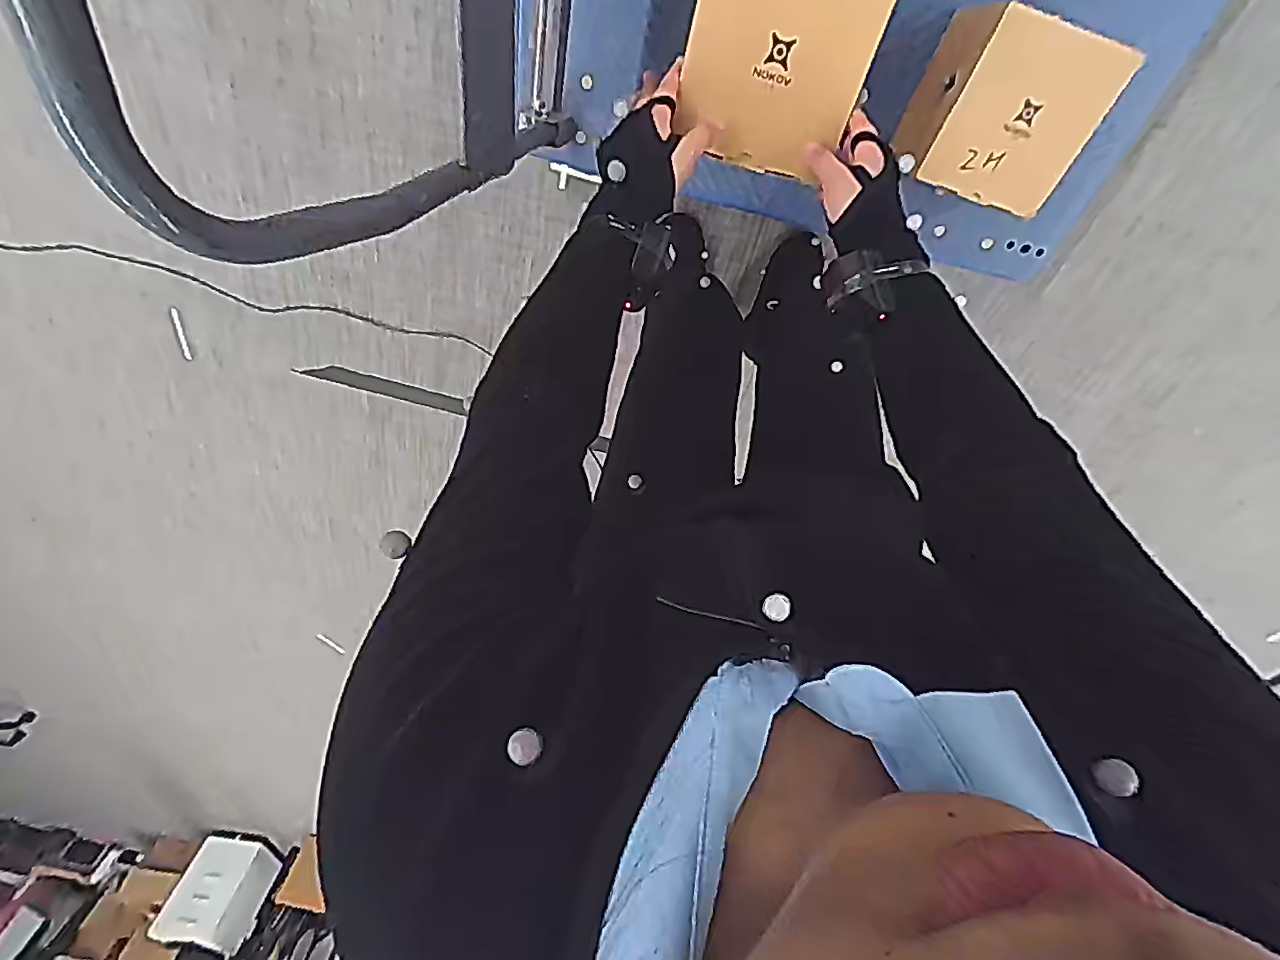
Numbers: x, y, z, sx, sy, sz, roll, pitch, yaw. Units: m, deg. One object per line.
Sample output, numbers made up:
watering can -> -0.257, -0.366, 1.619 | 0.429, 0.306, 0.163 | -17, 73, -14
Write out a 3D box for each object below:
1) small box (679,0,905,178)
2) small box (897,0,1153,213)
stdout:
small box -> 0.138, -0.431, 0.541 | 0.168, 0.176, 0.179 | 12, 128, -3
small box -> 0.457, -0.471, 0.682 | 0.168, 0.176, 0.179 | 17, 129, -5
